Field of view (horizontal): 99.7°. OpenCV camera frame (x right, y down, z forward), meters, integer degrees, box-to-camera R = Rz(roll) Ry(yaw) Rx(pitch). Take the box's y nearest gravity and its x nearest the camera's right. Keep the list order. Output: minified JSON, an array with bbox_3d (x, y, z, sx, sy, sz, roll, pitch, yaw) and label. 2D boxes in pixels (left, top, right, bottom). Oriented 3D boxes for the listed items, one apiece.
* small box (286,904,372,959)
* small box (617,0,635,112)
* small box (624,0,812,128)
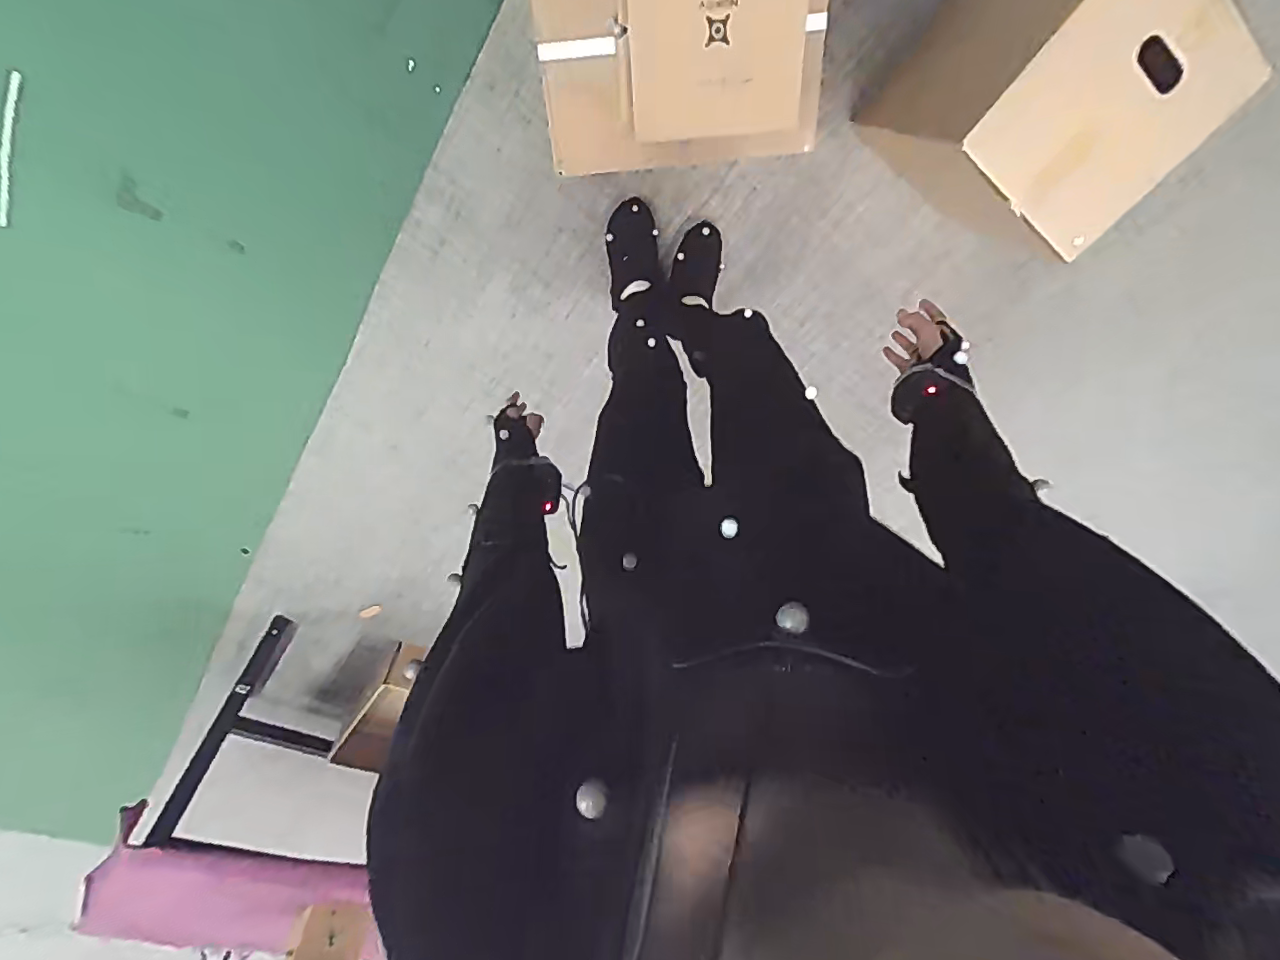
[{"bbox_3d":[-0.852,1.280,1.463,0.168,0.176,0.179,26,121,-21],"label":"small box"},{"bbox_3d":[0.057,-0.571,0.681,0.168,0.176,0.179,-2,127,-2],"label":"small box"},{"bbox_3d":[0.070,-0.471,0.552,0.168,0.176,0.179,-4,126,0],"label":"small box"}]
